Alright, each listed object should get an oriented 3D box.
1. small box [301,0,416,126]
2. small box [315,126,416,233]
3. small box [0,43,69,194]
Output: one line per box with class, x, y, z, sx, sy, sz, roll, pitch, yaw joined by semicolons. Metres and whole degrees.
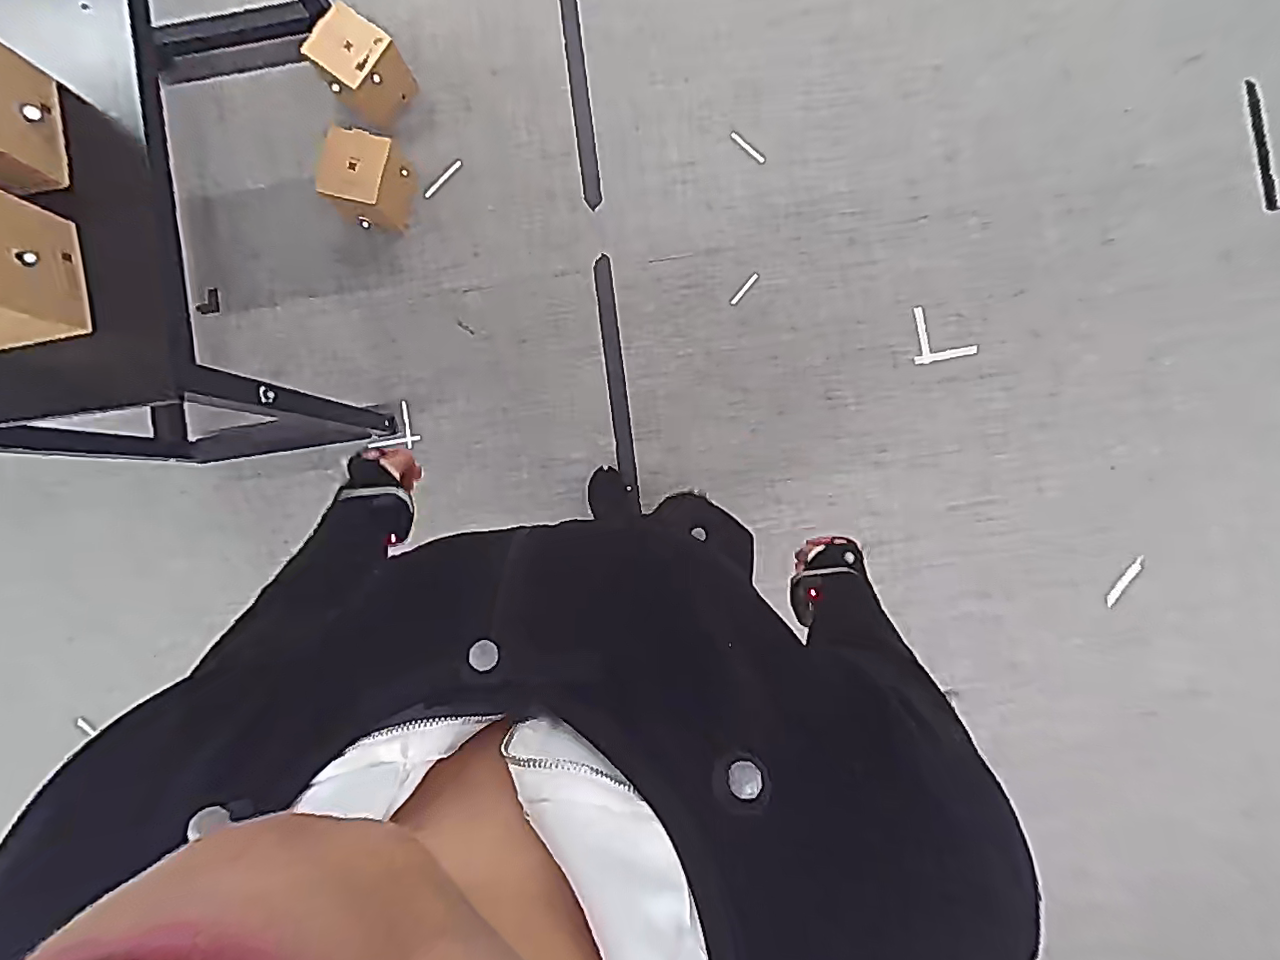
small box;-0.743;-1.100;1.444;0.179;0.176;0.168;35;91;1
small box;-0.723;-0.797;1.446;0.168;0.176;0.179;13;91;2
small box;-0.938;-0.500;0.719;0.179;0.176;0.168;-8;90;1
